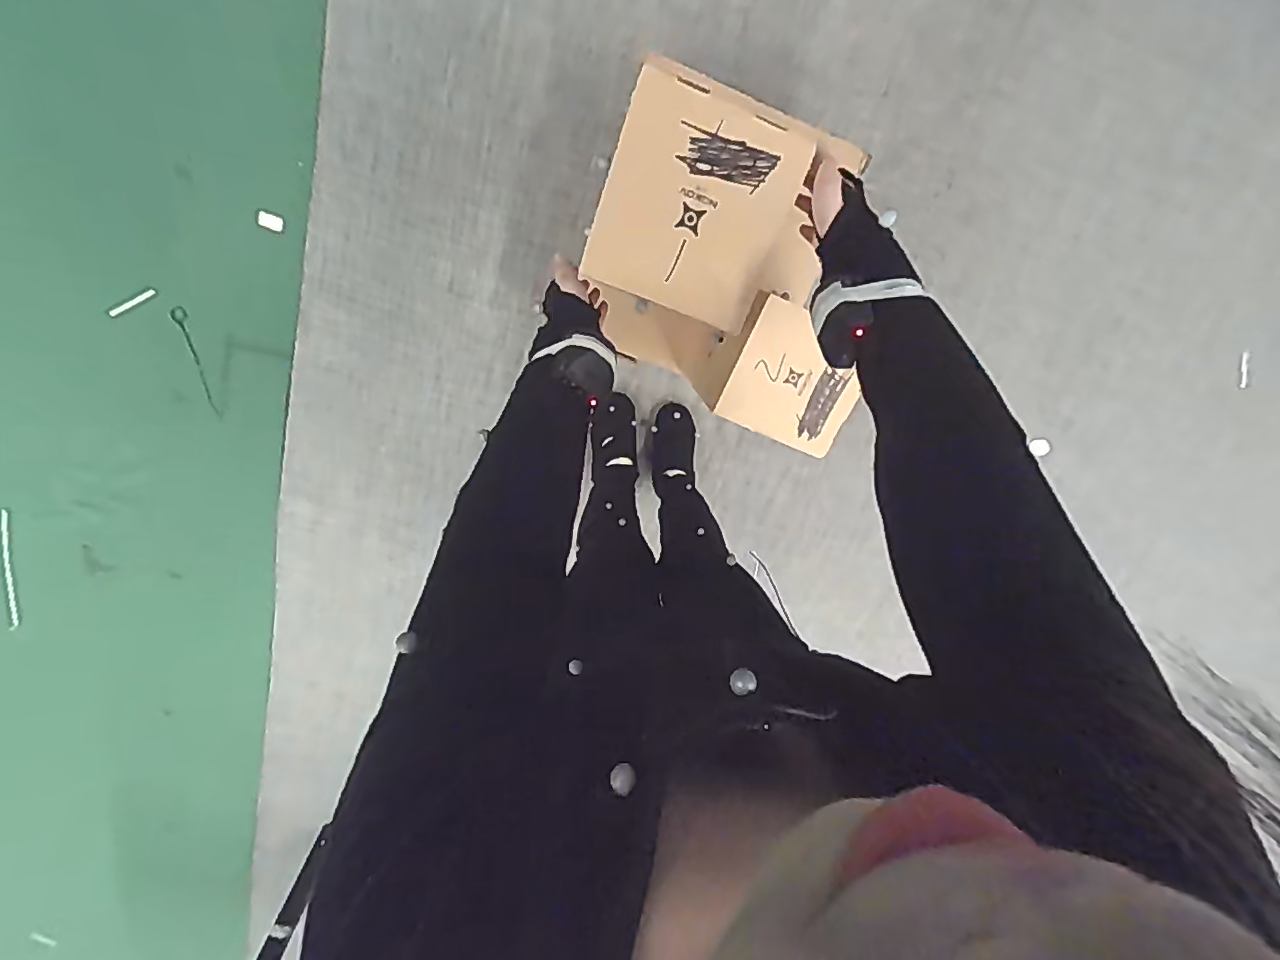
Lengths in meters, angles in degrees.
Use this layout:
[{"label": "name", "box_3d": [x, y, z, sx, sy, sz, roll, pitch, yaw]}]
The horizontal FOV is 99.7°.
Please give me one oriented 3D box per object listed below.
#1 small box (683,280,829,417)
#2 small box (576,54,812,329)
[{"label": "small box", "box_3d": [0.184, -0.232, 0.924, 0.168, 0.176, 0.179, 20, 106, -11]}, {"label": "small box", "box_3d": [0.040, -0.274, 0.553, 0.168, 0.176, 0.179, 18, 109, -10]}]
